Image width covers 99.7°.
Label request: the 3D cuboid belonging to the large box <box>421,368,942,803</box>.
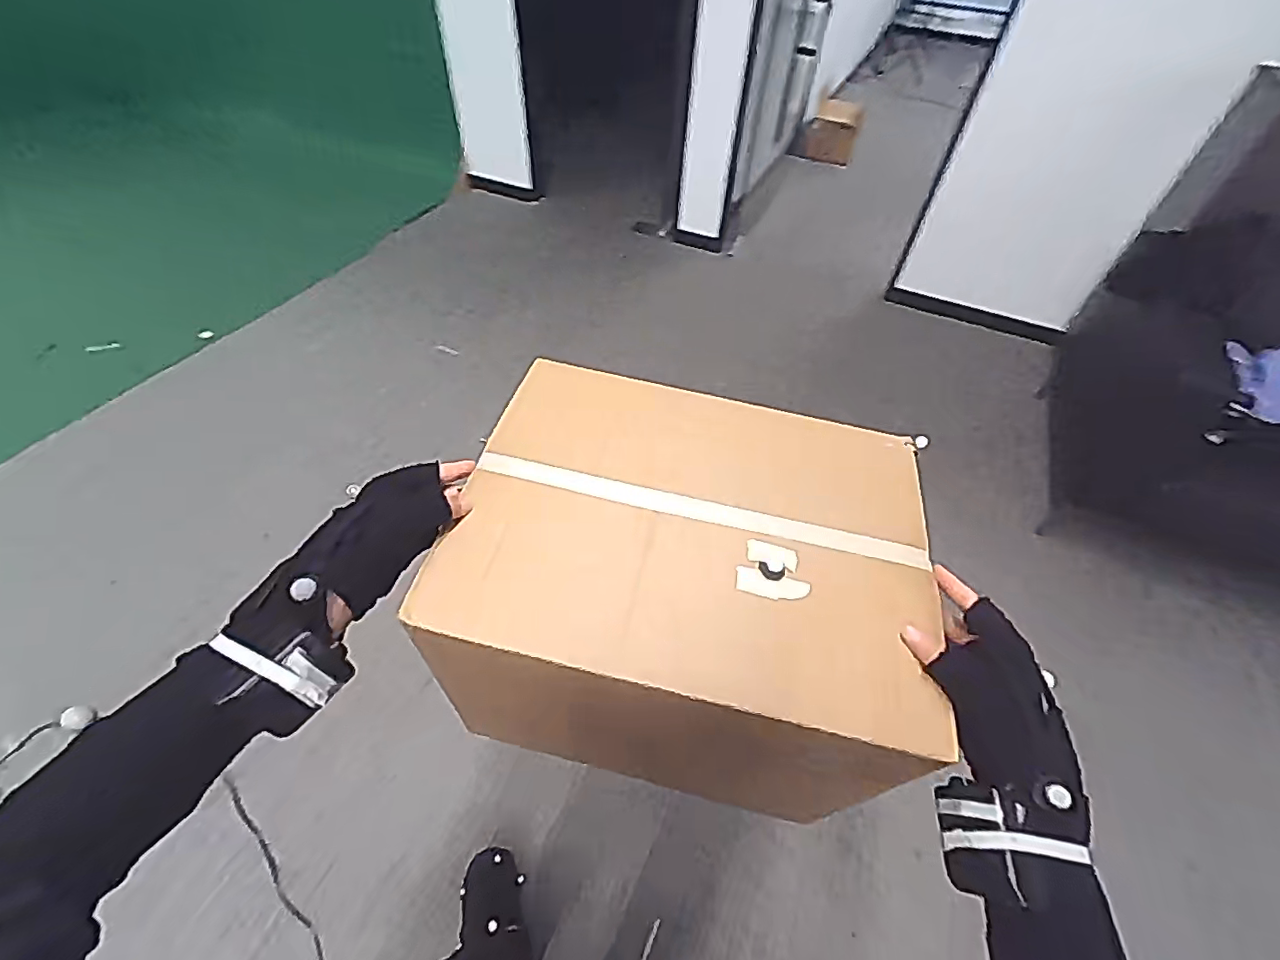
[{"bbox_3d":[0.037,0.123,0.605,0.408,0.320,0.320,13,51,3],"label":"large box"}]
